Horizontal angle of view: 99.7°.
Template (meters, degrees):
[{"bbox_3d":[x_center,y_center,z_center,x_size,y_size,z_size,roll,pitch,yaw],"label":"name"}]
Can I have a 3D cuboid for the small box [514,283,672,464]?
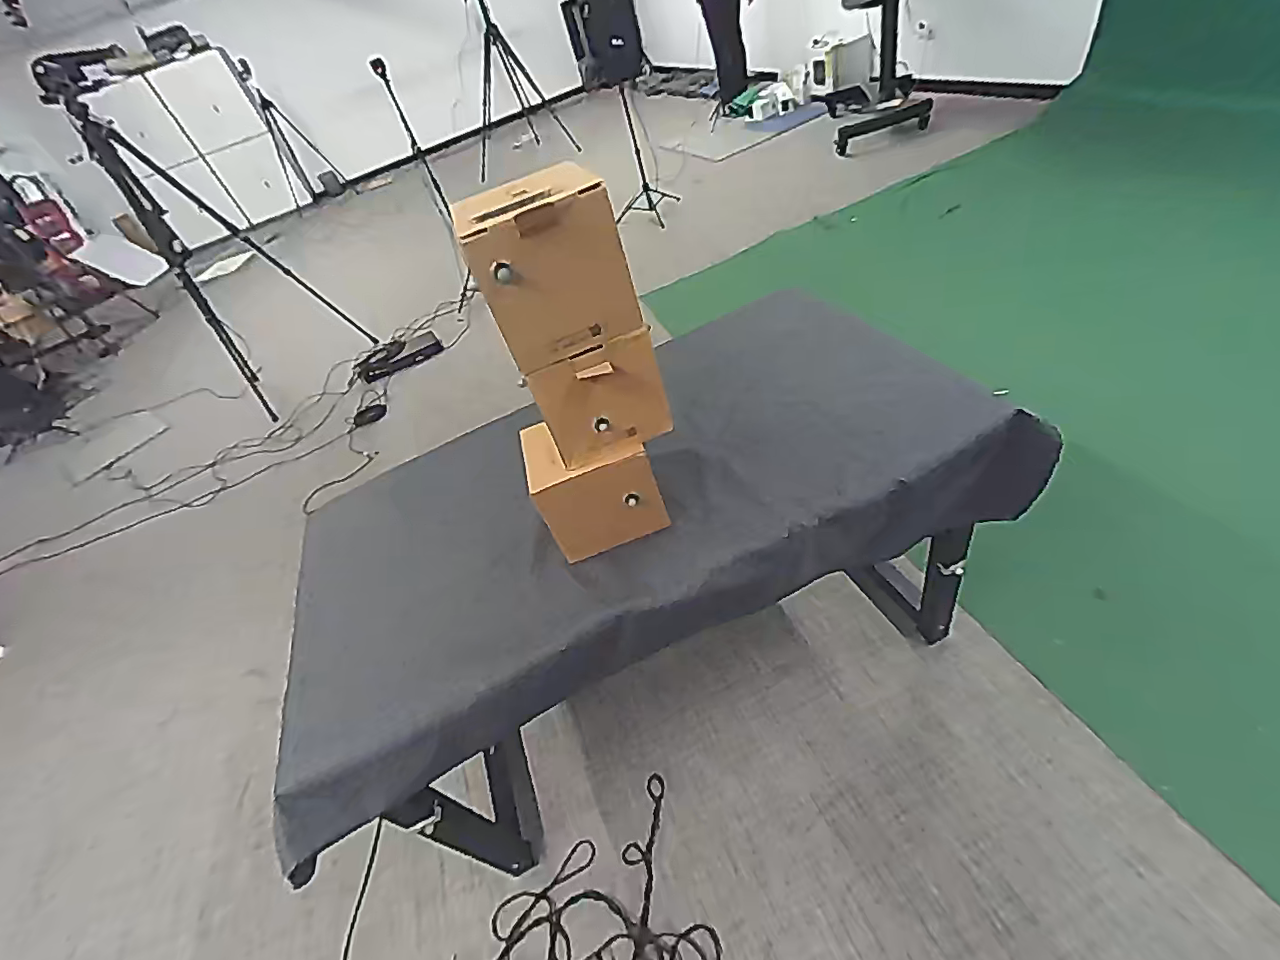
[{"bbox_3d":[-0.067,-0.153,0.780,0.168,0.176,0.179,-22,42,-3],"label":"small box"}]

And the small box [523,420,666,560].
[{"bbox_3d":[-0.068,-0.003,0.866,0.179,0.176,0.168,-22,41,0],"label":"small box"}]
